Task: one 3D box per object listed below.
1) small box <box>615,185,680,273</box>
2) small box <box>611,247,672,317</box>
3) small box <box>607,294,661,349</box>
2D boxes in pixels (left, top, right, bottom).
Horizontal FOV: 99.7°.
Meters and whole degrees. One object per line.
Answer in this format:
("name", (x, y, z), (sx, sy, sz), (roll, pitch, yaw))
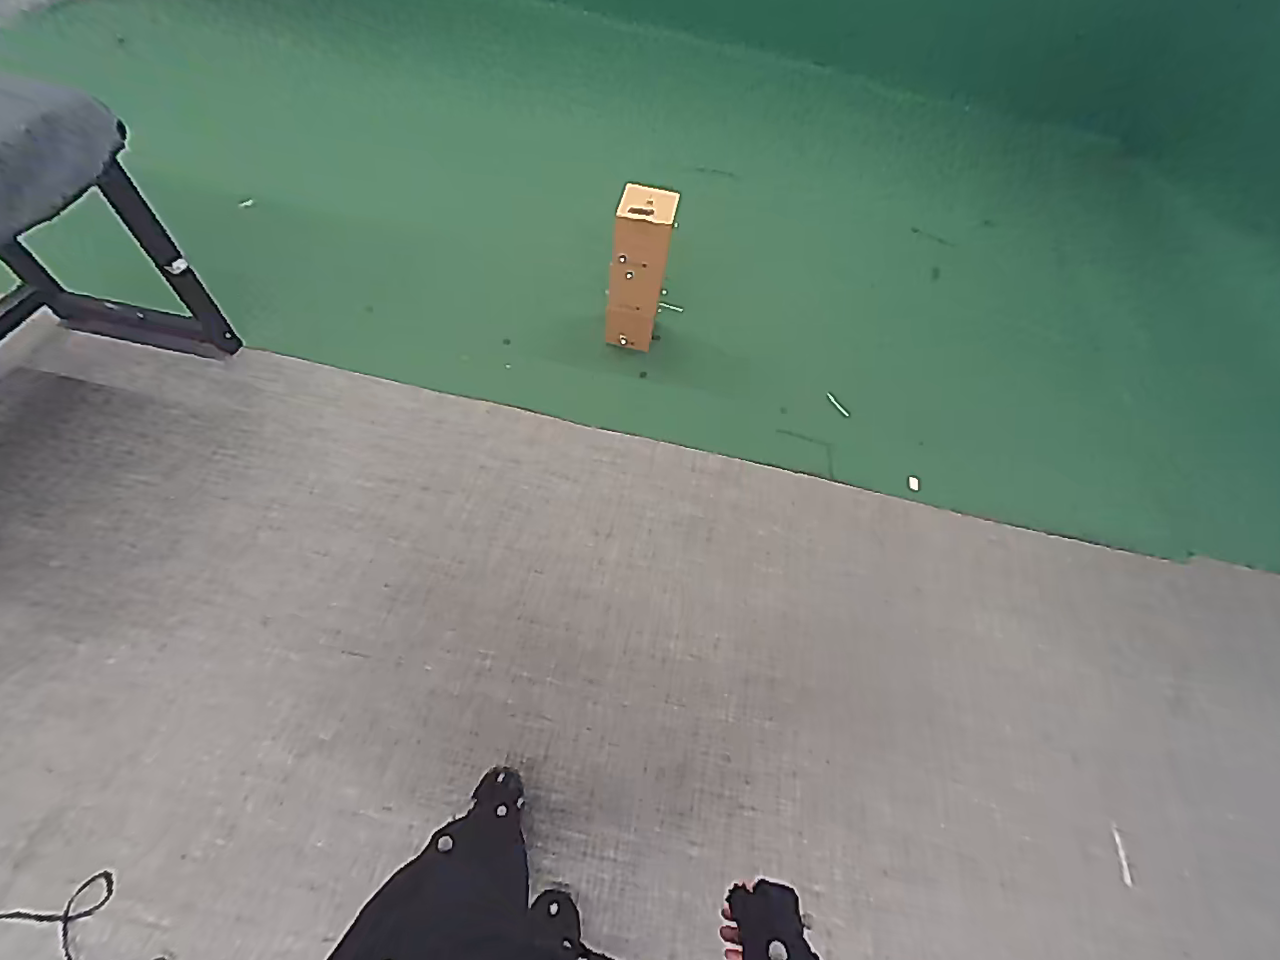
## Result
("small box", (0.019, -0.766, 1.661), (0.168, 0.176, 0.179), (12, 56, 0))
("small box", (-0.001, -0.677, 1.798), (0.168, 0.176, 0.179), (13, 56, 2))
("small box", (-0.021, -0.600, 1.919), (0.168, 0.176, 0.179), (13, 57, 3))
